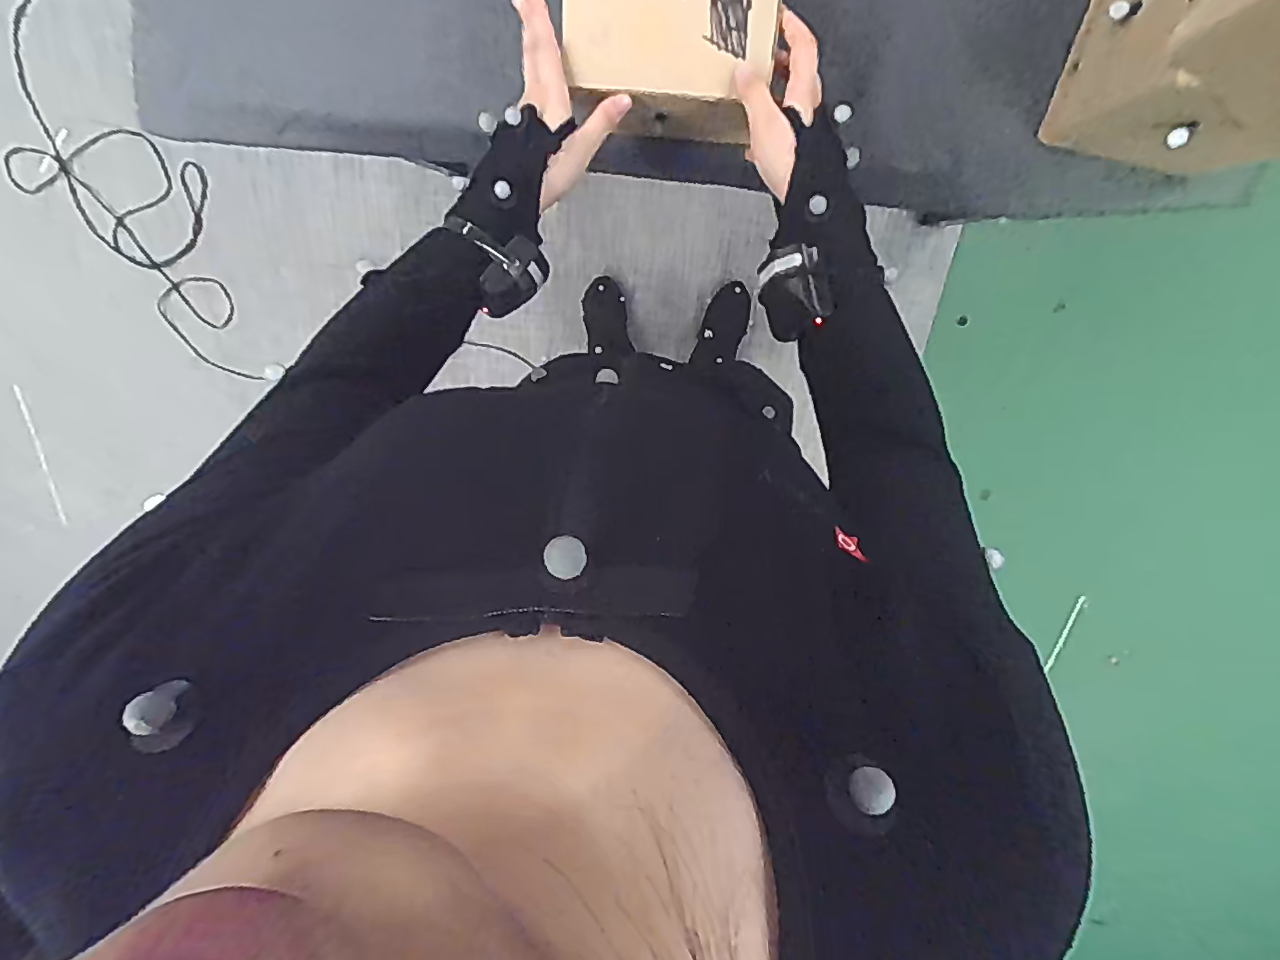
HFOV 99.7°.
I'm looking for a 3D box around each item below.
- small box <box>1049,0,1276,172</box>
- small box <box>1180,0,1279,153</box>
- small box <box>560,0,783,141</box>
[{"bbox_3d":[0.510,-0.384,0.463,0.179,0.176,0.168,13,109,0],"label":"small box"},{"bbox_3d":[0.500,-0.314,0.314,0.179,0.176,0.168,33,108,-8],"label":"small box"},{"bbox_3d":[0.035,-0.422,0.491,0.179,0.176,0.168,8,113,5],"label":"small box"}]
